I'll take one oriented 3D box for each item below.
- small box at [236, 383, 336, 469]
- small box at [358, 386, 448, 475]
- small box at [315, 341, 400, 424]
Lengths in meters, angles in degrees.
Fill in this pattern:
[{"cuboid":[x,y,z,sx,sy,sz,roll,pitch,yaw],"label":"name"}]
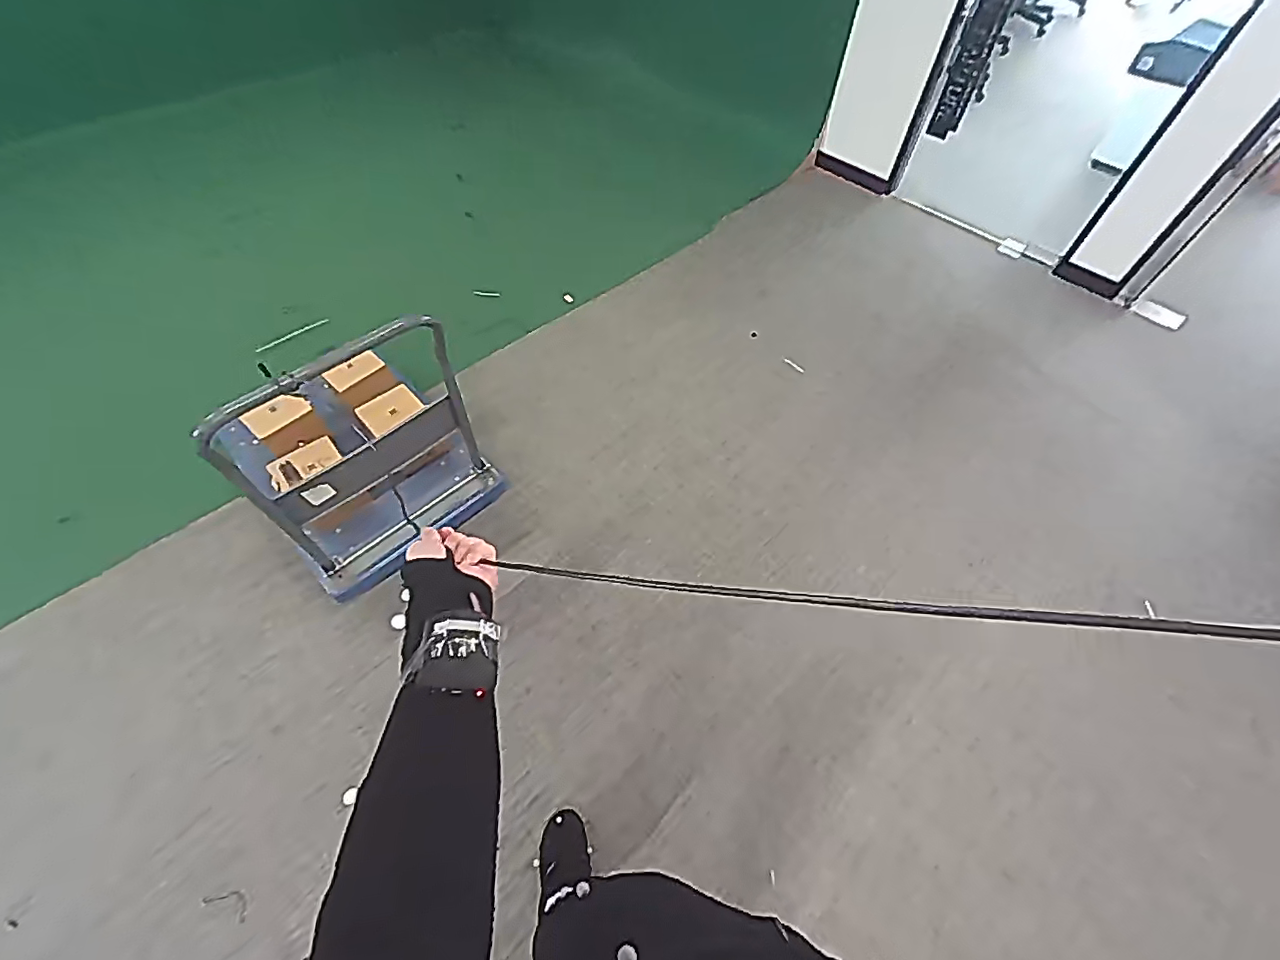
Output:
[{"cuboid":[-1.079,-0.159,1.664,0.179,0.176,0.168,37,62,21],"label":"small box"},{"cuboid":[-0.724,-0.149,1.666,0.168,0.176,0.179,-37,65,-23],"label":"small box"},{"cuboid":[-0.911,-0.314,1.770,0.179,0.176,0.168,38,64,20],"label":"small box"}]
